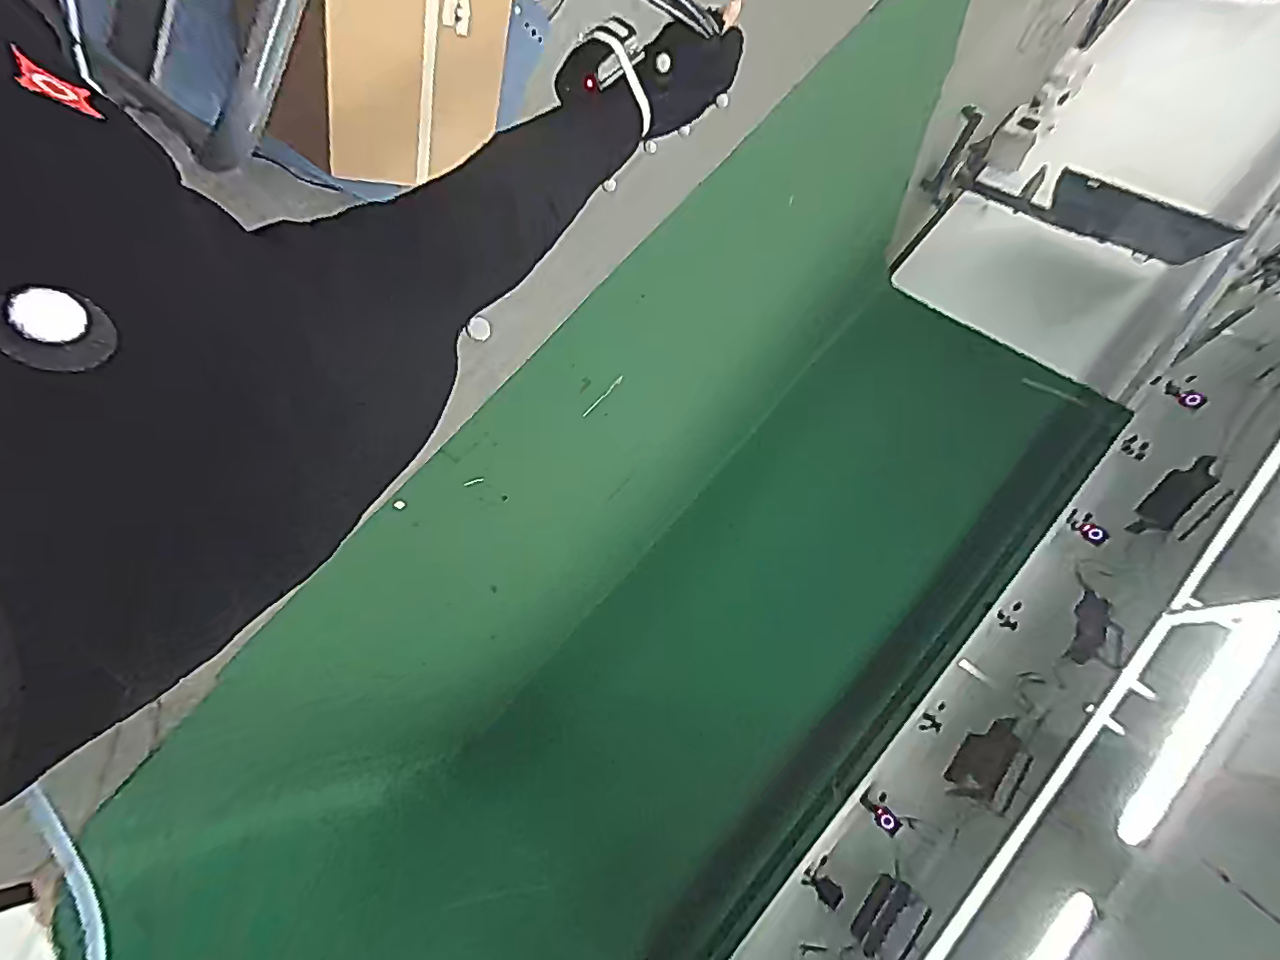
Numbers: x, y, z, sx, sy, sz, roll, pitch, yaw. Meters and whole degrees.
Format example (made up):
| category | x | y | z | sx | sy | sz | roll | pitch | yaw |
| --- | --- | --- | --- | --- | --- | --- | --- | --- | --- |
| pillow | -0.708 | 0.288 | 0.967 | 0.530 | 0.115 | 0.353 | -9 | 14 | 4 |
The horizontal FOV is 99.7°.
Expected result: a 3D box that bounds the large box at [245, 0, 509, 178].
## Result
| category | x | y | z | sx | sy | sz | roll | pitch | yaw |
| --- | --- | --- | --- | --- | --- | --- | --- | --- | --- |
| large box | -0.455 | -0.799 | 0.934 | 0.320 | 0.320 | 0.408 | -26 | 147 | -46 |
